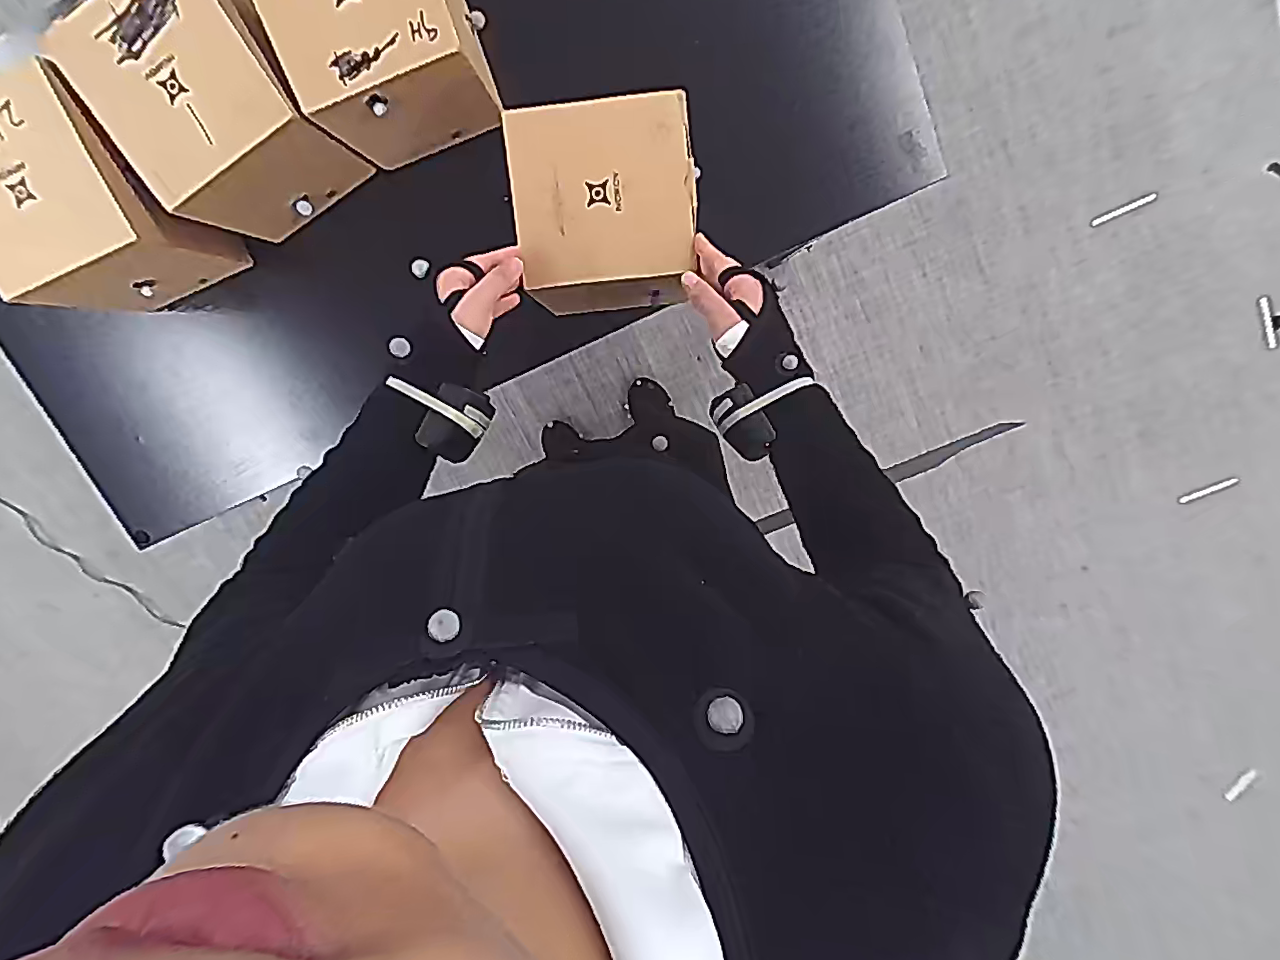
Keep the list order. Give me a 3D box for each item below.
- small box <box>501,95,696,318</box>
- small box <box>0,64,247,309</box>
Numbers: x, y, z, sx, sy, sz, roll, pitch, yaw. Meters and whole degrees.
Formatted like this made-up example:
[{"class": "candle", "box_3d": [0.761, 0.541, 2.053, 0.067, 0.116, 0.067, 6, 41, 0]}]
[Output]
[{"class": "small box", "box_3d": [-0.037, -0.283, 0.597, 0.179, 0.176, 0.168, -5, 97, 4]}, {"class": "small box", "box_3d": [-0.602, -0.304, 0.610, 0.168, 0.176, 0.179, -21, 101, 5]}]
